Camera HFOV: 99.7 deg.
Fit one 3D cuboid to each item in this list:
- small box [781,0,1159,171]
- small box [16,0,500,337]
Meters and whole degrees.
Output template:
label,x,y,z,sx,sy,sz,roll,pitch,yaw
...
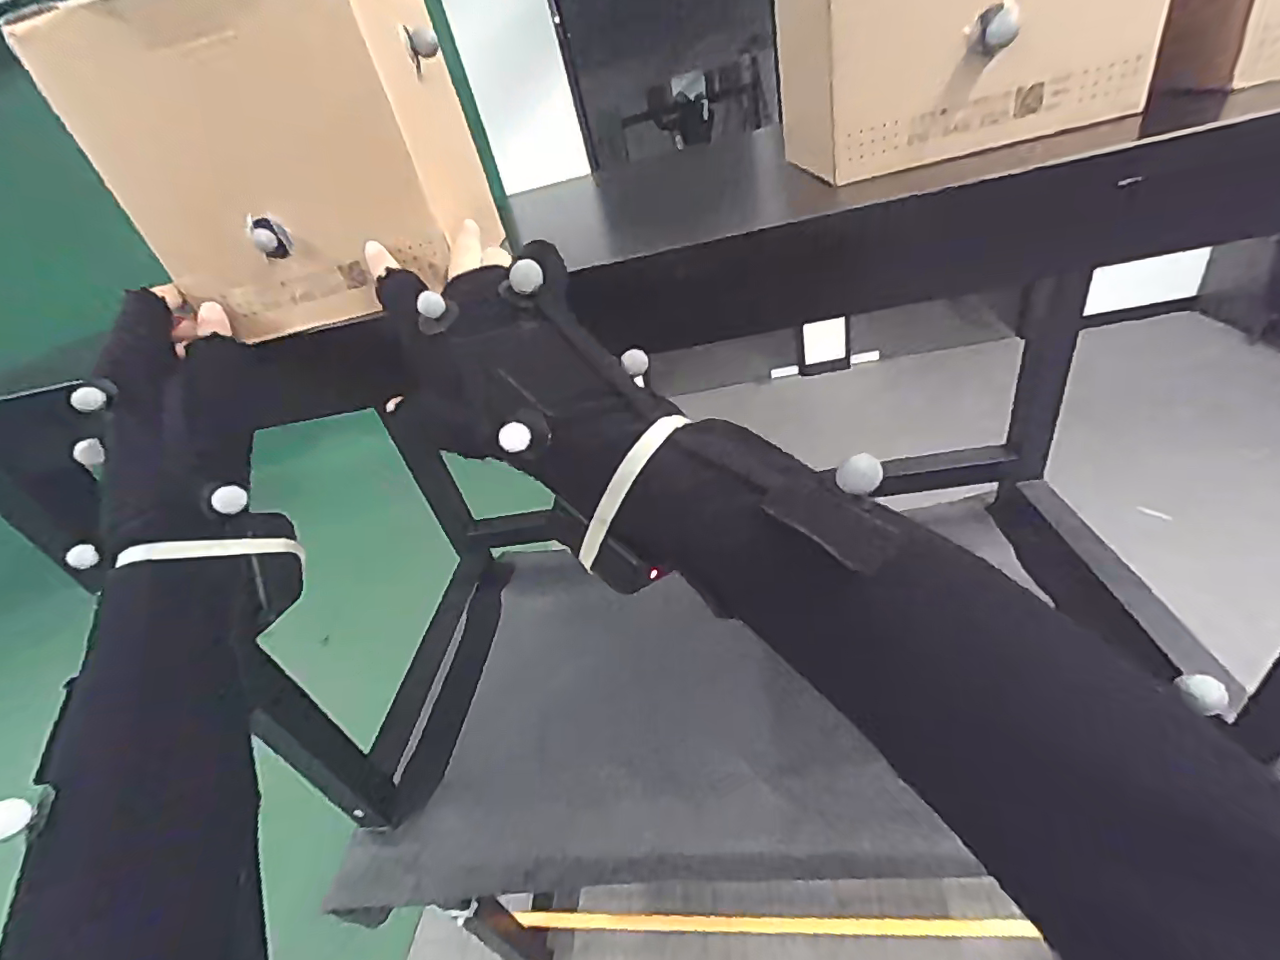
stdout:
label,x,y,z,sx,sy,sz,roll,pitch,yaw
small box,0.182,-0.306,0.336,0.168,0.176,0.179,-9,34,10
small box,-0.207,-0.214,0.364,0.168,0.176,0.179,-13,33,4
